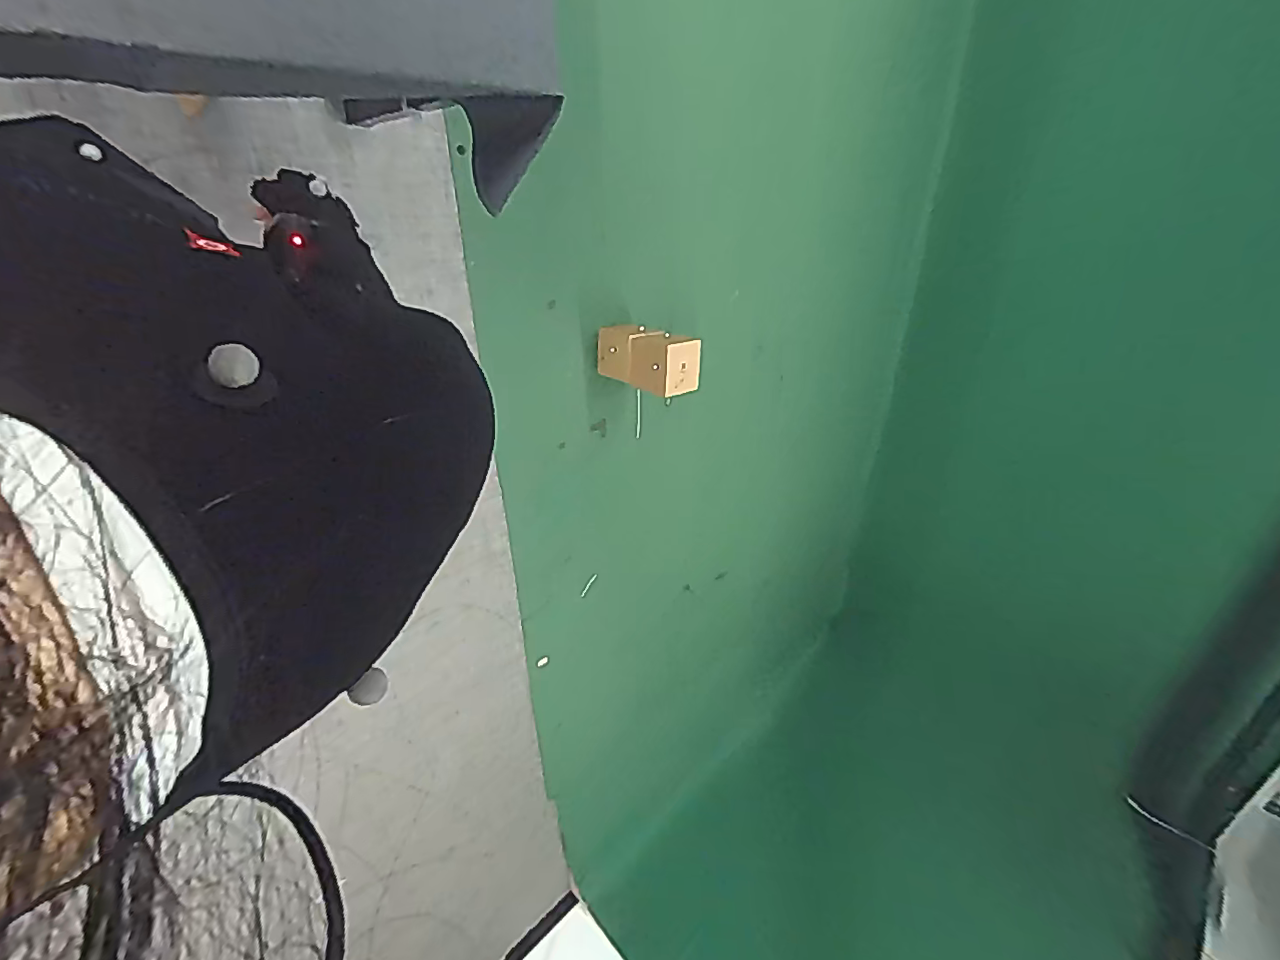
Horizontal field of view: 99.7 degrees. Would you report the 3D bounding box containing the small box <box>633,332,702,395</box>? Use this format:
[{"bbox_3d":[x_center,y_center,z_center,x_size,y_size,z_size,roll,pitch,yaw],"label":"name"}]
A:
[{"bbox_3d":[0.089,-0.405,1.840,0.168,0.176,0.179,-21,124,-39],"label":"small box"}]

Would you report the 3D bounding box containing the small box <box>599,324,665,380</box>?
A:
[{"bbox_3d":[-0.032,-0.463,1.935,0.179,0.176,0.168,-20,123,-40],"label":"small box"}]
